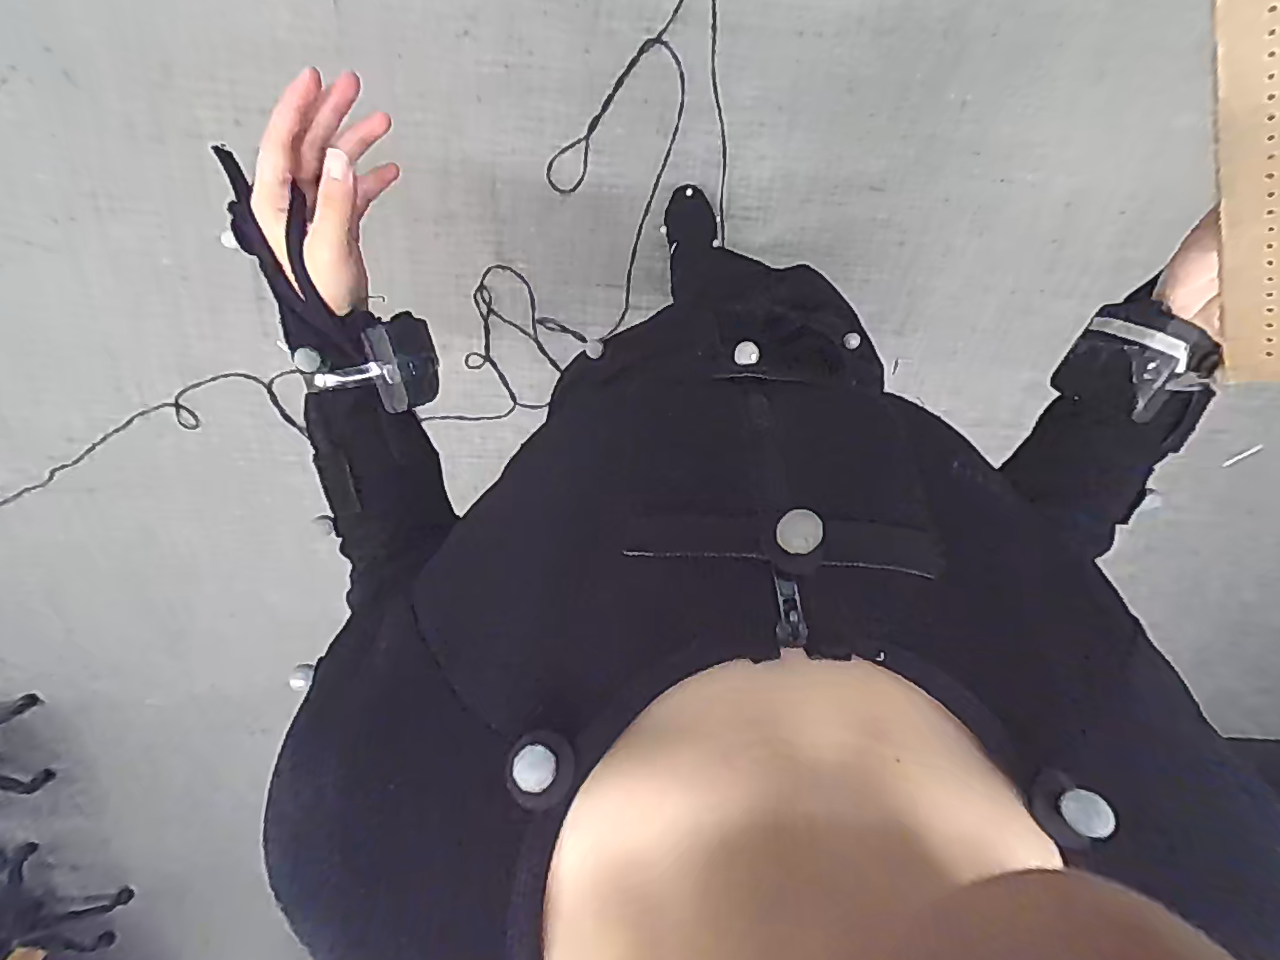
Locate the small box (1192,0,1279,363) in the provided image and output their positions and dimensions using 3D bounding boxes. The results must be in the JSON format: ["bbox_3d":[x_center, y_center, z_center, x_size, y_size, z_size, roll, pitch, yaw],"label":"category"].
[{"bbox_3d":[0.313,-0.152,0.164,0.168,0.176,0.179,-40,114,-18],"label":"small box"}]
